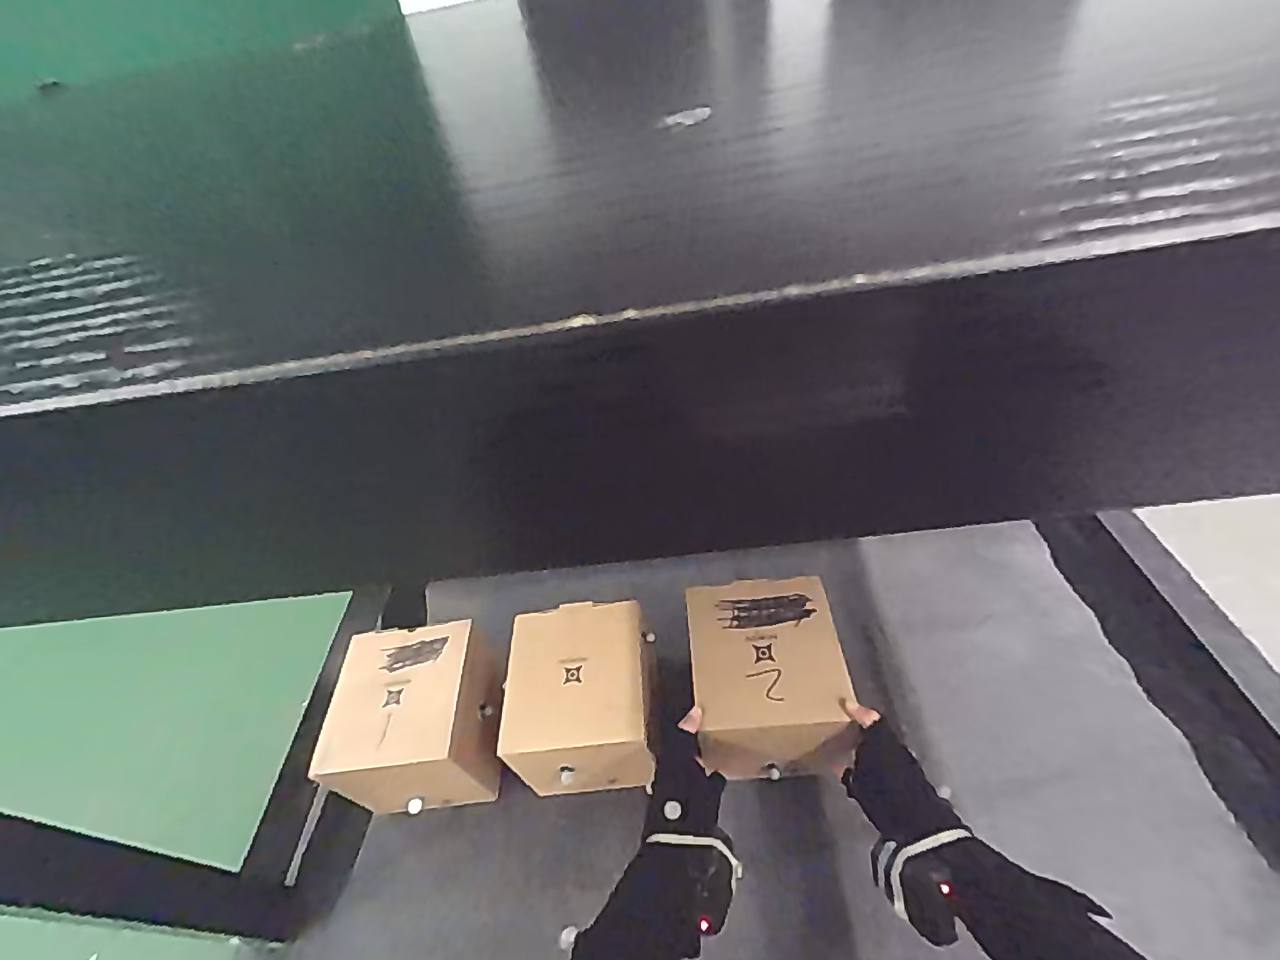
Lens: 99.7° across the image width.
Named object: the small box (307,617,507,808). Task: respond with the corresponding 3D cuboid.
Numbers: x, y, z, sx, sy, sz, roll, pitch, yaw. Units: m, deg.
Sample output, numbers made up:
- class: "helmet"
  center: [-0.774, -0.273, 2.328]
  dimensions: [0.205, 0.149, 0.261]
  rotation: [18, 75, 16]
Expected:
- class: "small box"
  center: [-0.286, 0.307, 0.714]
  dimensions: [0.168, 0.176, 0.179]
  rotation: [-9, 45, 4]
